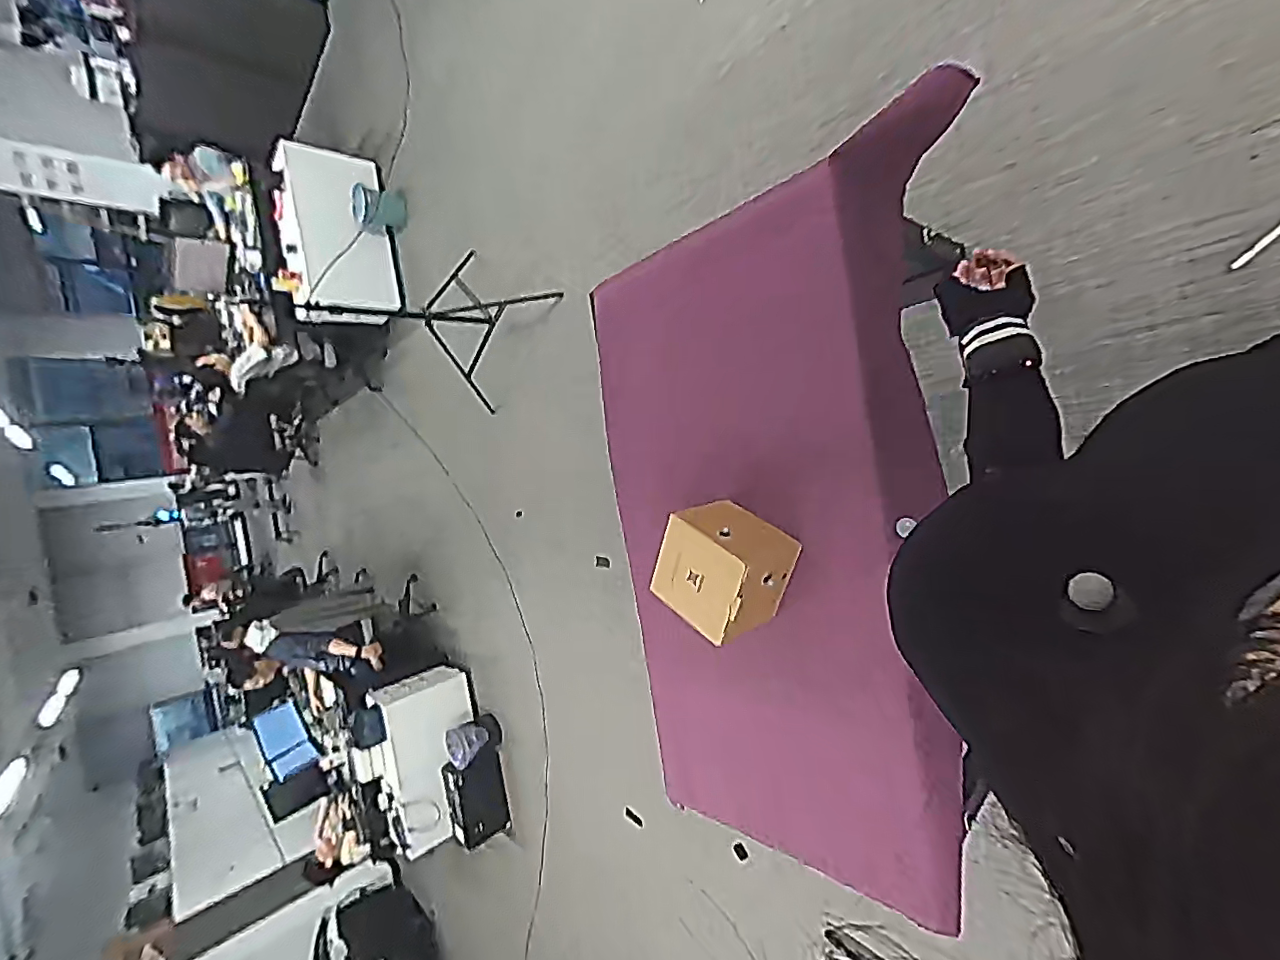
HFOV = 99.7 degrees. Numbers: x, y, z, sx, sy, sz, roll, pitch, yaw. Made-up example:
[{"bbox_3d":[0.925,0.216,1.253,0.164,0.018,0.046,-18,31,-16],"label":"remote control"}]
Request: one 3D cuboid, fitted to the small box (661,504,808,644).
[{"bbox_3d":[0.170,0.156,0.972,0.179,0.176,0.168,34,121,40],"label":"small box"}]
